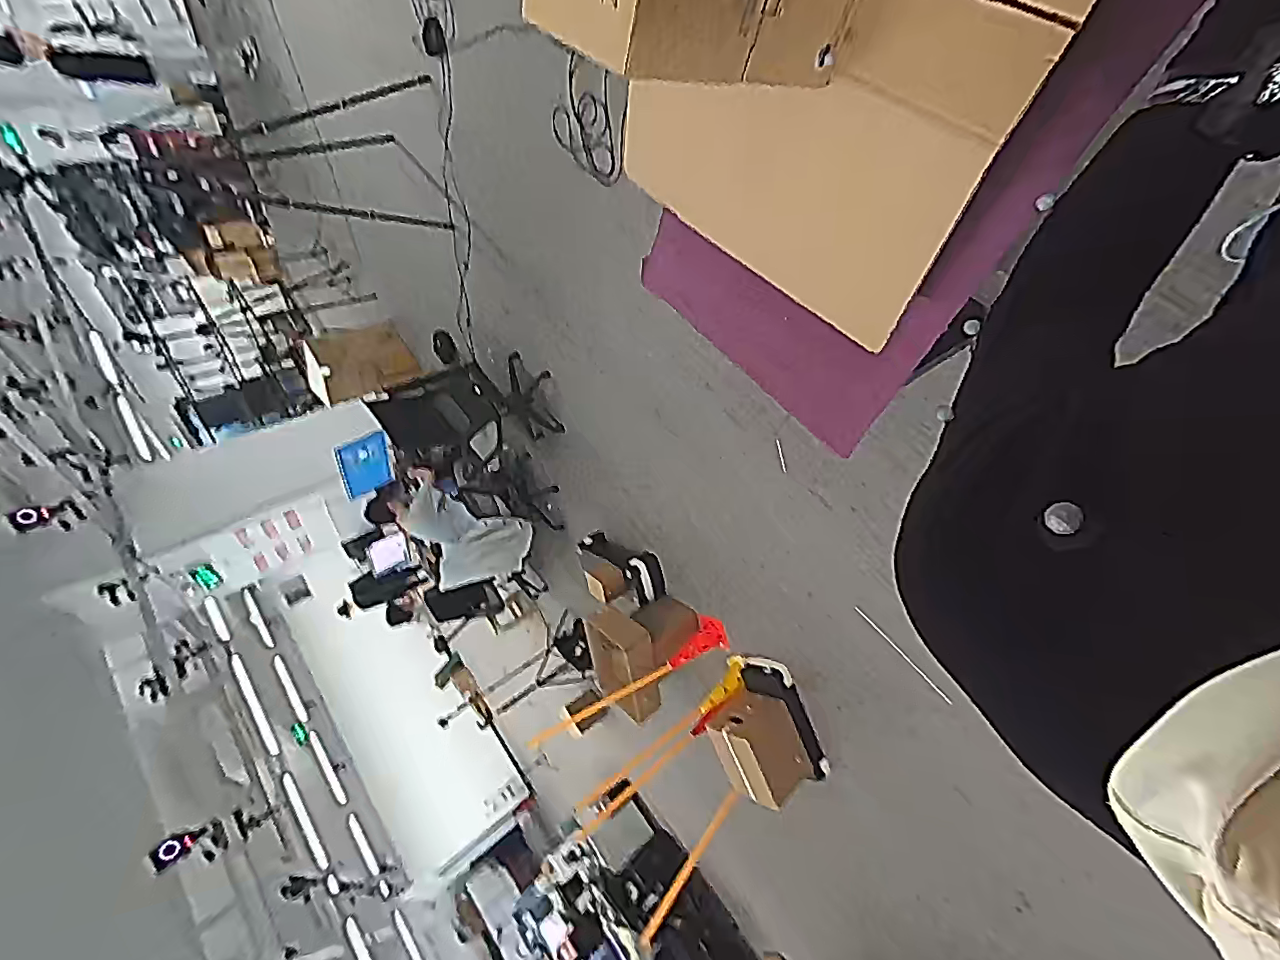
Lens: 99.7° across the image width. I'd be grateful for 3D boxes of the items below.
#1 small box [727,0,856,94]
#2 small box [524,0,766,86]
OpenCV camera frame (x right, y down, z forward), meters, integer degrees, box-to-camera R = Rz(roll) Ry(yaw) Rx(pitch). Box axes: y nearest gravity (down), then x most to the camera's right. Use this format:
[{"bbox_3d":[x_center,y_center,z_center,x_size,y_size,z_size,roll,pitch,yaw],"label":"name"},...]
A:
[{"bbox_3d":[0.135,-0.562,0.610,0.179,0.176,0.168,47,142,24],"label":"small box"},{"bbox_3d":[0.012,-0.502,0.519,0.179,0.176,0.168,46,142,23],"label":"small box"}]
